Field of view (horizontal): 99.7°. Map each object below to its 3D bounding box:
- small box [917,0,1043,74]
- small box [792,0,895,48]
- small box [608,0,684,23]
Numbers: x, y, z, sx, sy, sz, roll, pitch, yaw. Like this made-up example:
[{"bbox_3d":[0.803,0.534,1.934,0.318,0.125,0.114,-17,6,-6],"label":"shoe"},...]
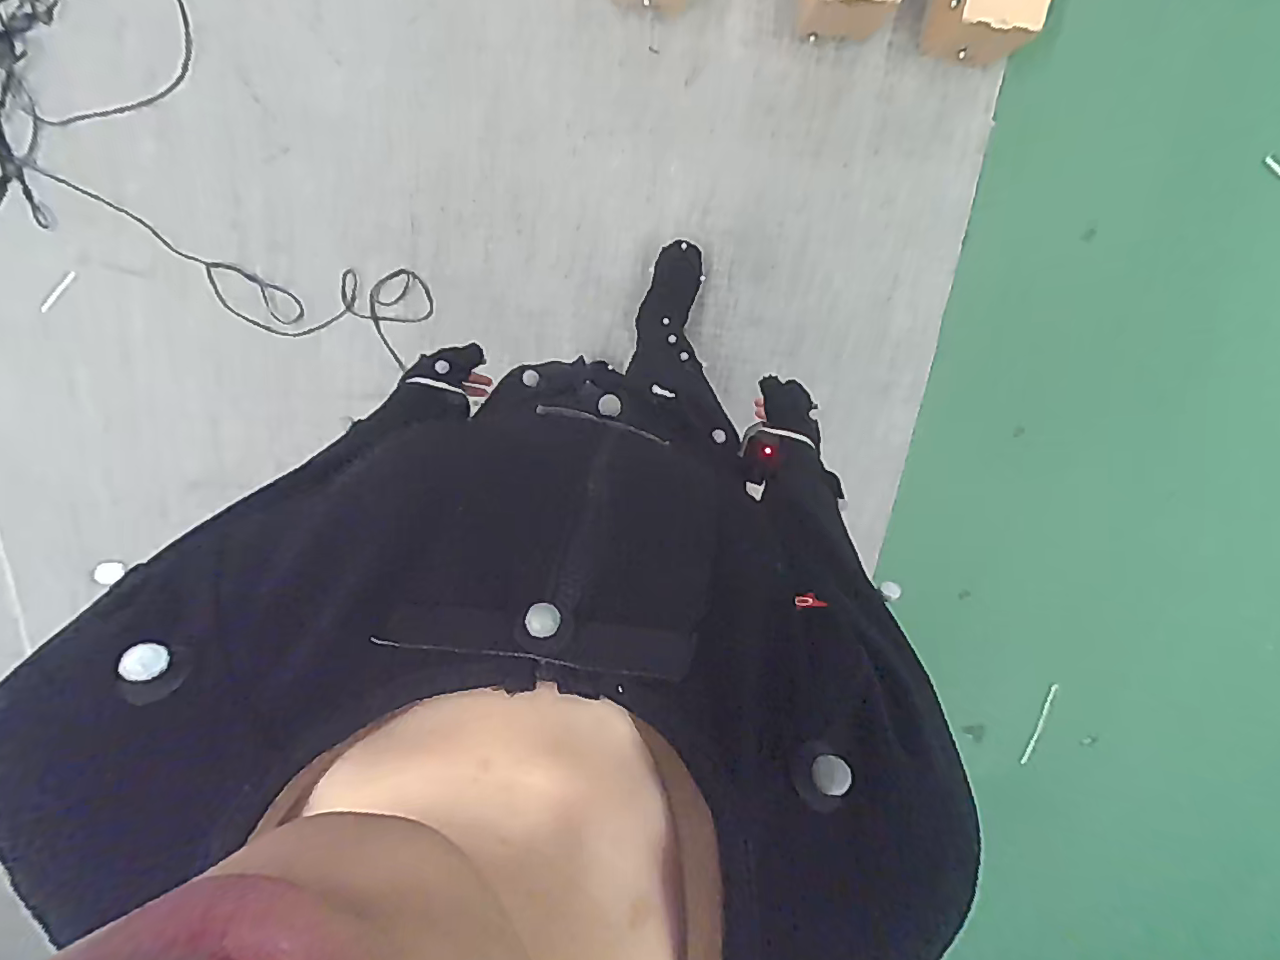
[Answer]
[{"bbox_3d":[0.708,-0.990,1.123,0.168,0.176,0.179,6,107,-2],"label":"small box"},{"bbox_3d":[0.418,-1.024,1.106,0.168,0.176,0.179,2,106,-2],"label":"small box"},{"bbox_3d":[0.020,-1.073,1.083,0.168,0.176,0.179,7,107,-2],"label":"small box"}]
